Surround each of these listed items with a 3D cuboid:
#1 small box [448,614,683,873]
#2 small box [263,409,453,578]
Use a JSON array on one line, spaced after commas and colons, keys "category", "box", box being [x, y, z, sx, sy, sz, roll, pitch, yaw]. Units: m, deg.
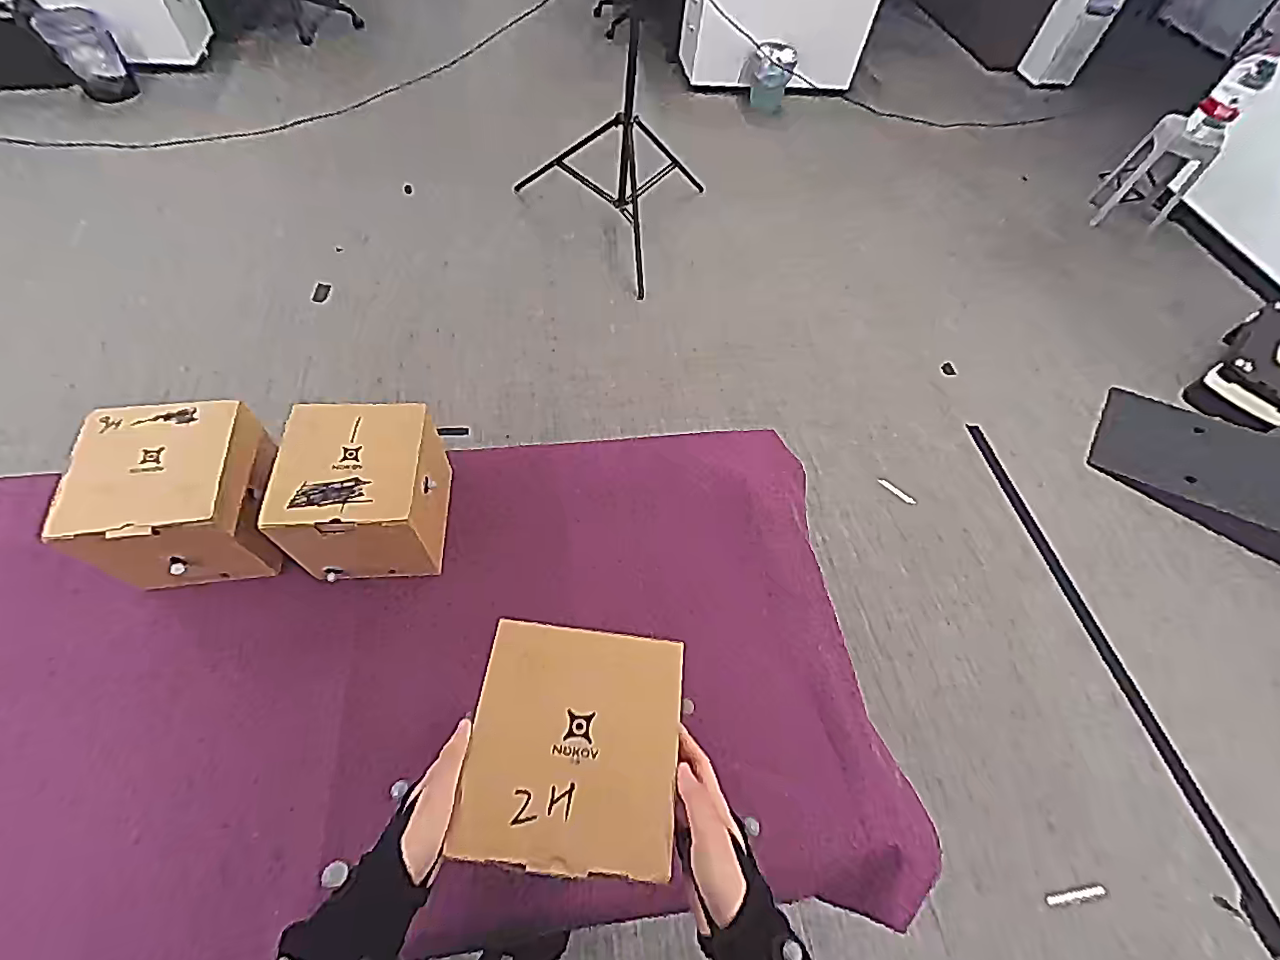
[{"category": "small box", "box": [-0.058, 0.245, 0.501, 0.168, 0.176, 0.179, 8, 56, -2]}, {"category": "small box", "box": [-0.356, 0.025, 0.724, 0.168, 0.176, 0.179, -1, 59, -7]}]
